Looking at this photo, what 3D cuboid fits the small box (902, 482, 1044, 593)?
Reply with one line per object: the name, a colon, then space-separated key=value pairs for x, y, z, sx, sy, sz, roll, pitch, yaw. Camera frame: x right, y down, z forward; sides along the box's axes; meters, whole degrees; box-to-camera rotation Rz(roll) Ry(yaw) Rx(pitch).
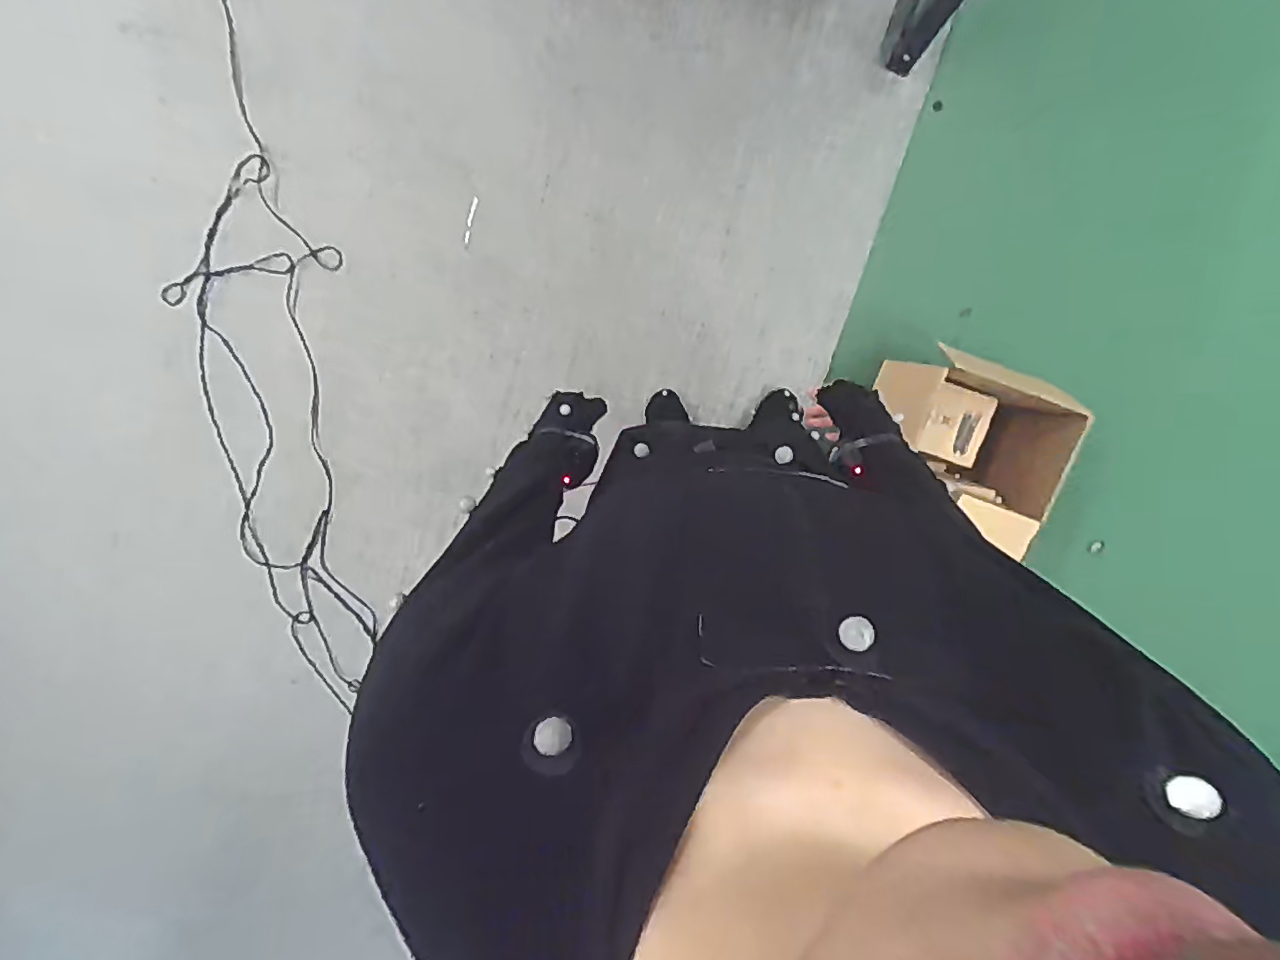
small box: x=0.710 y=0.115 z=1.179 sx=0.179 sy=0.176 sz=0.168 roll=20 pitch=103 yaw=0
